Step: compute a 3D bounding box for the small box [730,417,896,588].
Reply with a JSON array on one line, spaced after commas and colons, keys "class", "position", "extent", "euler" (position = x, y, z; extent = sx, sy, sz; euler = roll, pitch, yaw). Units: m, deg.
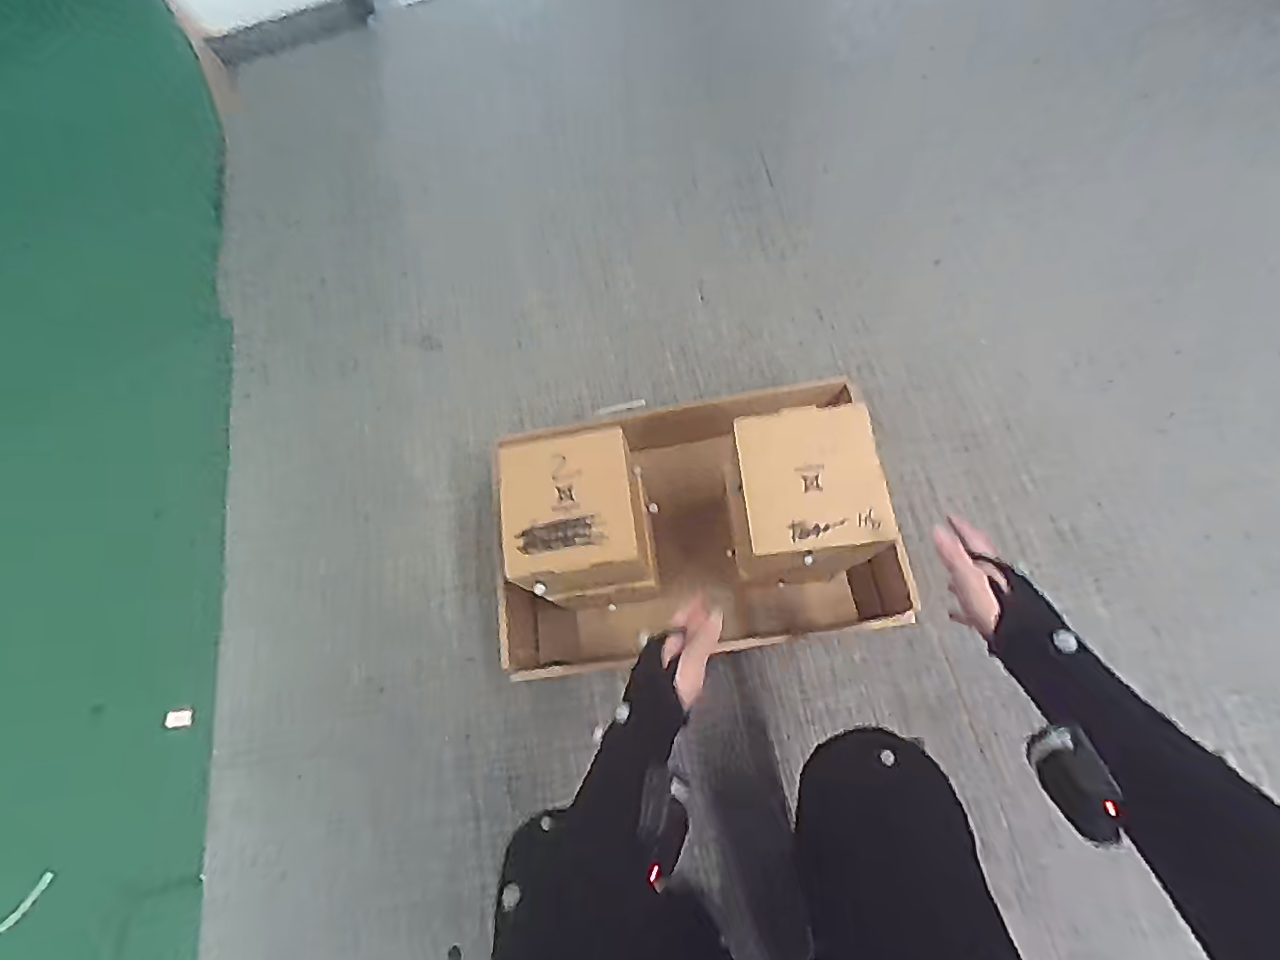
[{"class": "small box", "position": [0.213, 0.038, 0.721], "extent": [0.168, 0.176, 0.179], "euler": [-7, 69, 5]}]
